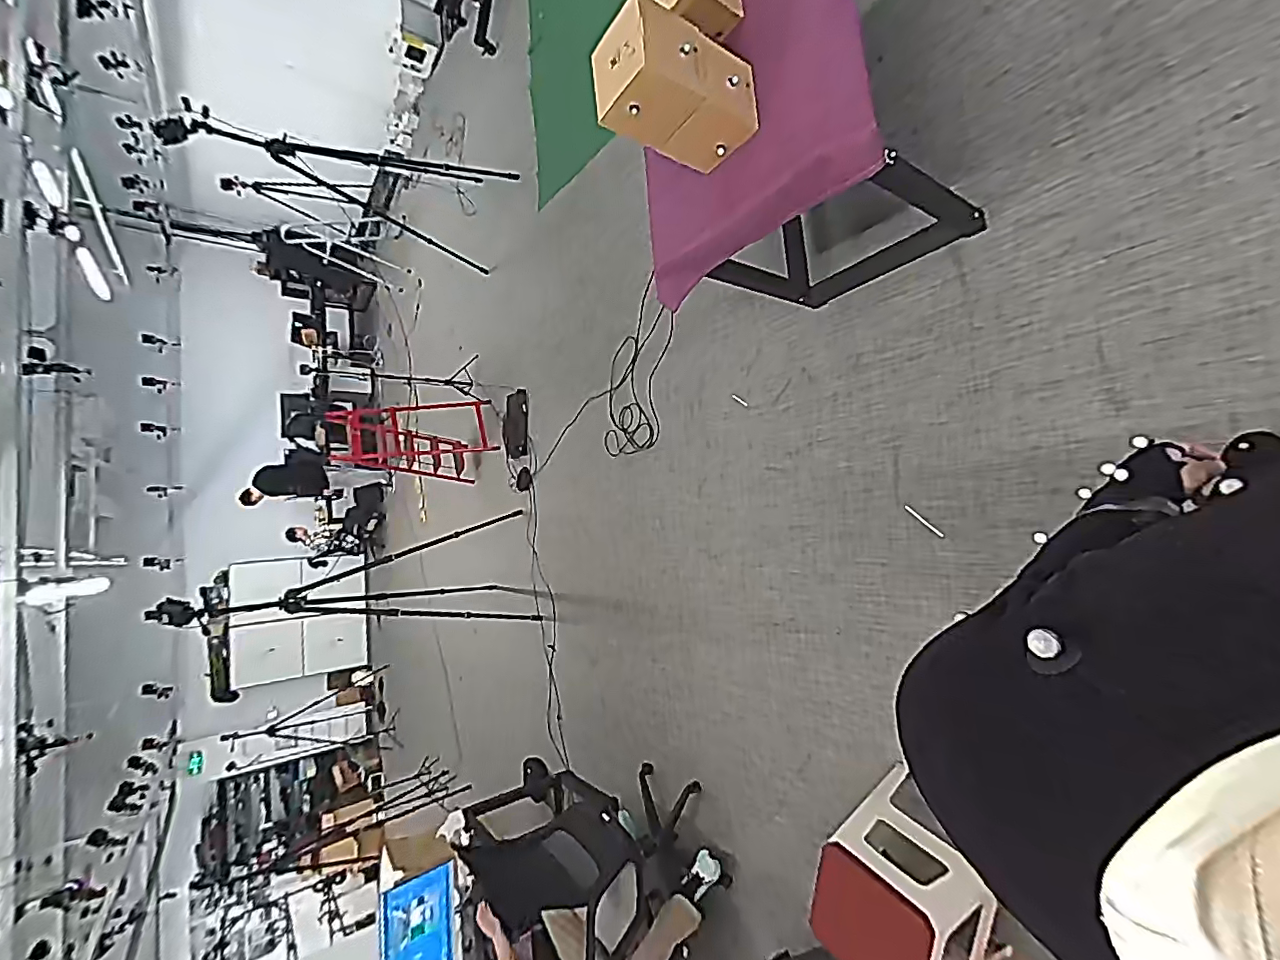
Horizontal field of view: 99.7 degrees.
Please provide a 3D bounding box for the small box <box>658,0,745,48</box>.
[{"bbox_3d":[0.129,-1.156,1.288,0.168,0.176,0.179,-14,80,53],"label":"small box"}]

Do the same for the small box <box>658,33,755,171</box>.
[{"bbox_3d":[0.153,-0.867,1.260,0.179,0.176,0.168,-14,79,52],"label":"small box"}]

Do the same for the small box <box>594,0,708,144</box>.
[{"bbox_3d":[0.022,-0.868,1.160,0.179,0.176,0.168,-14,80,52],"label":"small box"}]
